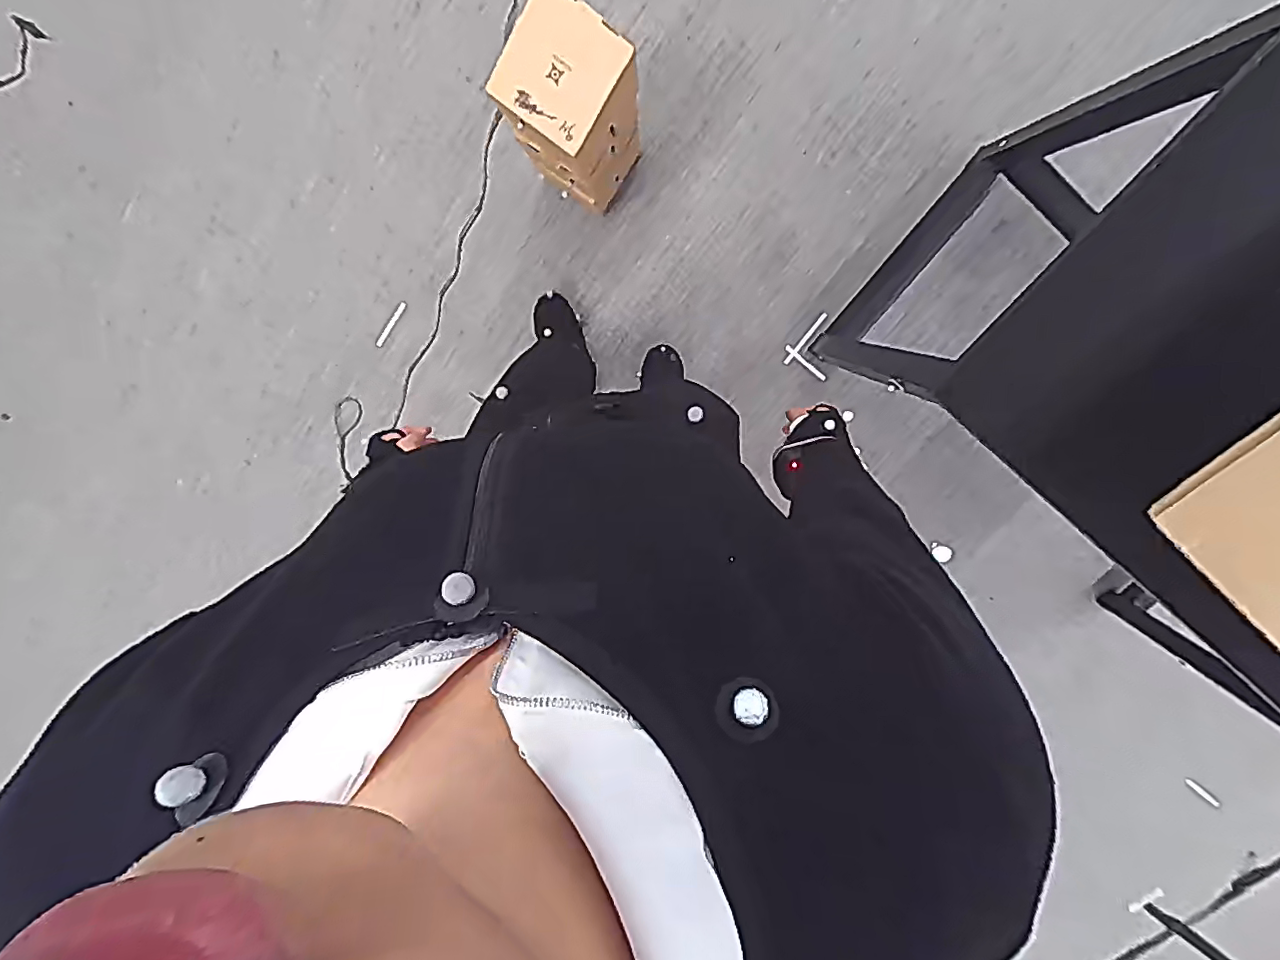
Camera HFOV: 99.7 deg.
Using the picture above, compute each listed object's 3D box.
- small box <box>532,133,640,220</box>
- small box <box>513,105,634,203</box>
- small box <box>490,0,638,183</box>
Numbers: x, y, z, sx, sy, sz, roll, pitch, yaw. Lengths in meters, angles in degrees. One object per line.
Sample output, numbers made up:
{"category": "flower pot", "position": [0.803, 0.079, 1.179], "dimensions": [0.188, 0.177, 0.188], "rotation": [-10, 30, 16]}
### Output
{"category": "small box", "position": [-0.114, -0.717, 1.211], "dimensions": [0.168, 0.176, 0.179], "rotation": [34, 106, -8]}
{"category": "small box", "position": [-0.118, -0.674, 1.055], "dimensions": [0.168, 0.176, 0.179], "rotation": [30, 105, -8]}
{"category": "small box", "position": [-0.117, -0.634, 0.895], "dimensions": [0.168, 0.176, 0.179], "rotation": [34, 105, -8]}
